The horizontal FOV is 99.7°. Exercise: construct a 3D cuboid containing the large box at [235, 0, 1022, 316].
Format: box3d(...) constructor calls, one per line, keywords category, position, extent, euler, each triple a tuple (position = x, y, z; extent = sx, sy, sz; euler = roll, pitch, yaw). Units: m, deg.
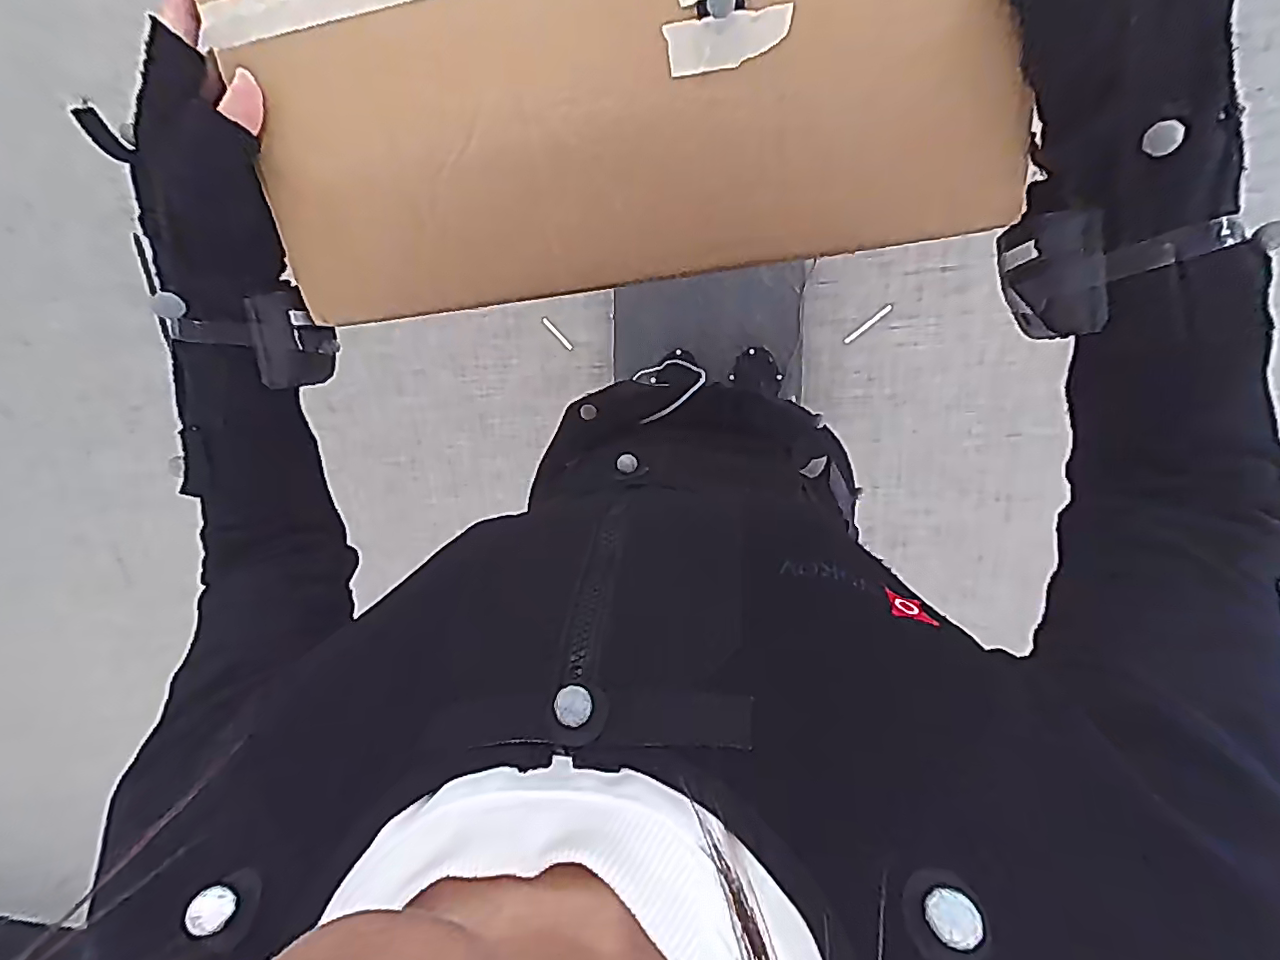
box3d(category="large box", position=(-0.007, -0.322, 0.399), extent=(0.408, 0.320, 0.320), euler=(-5, 112, 10))
